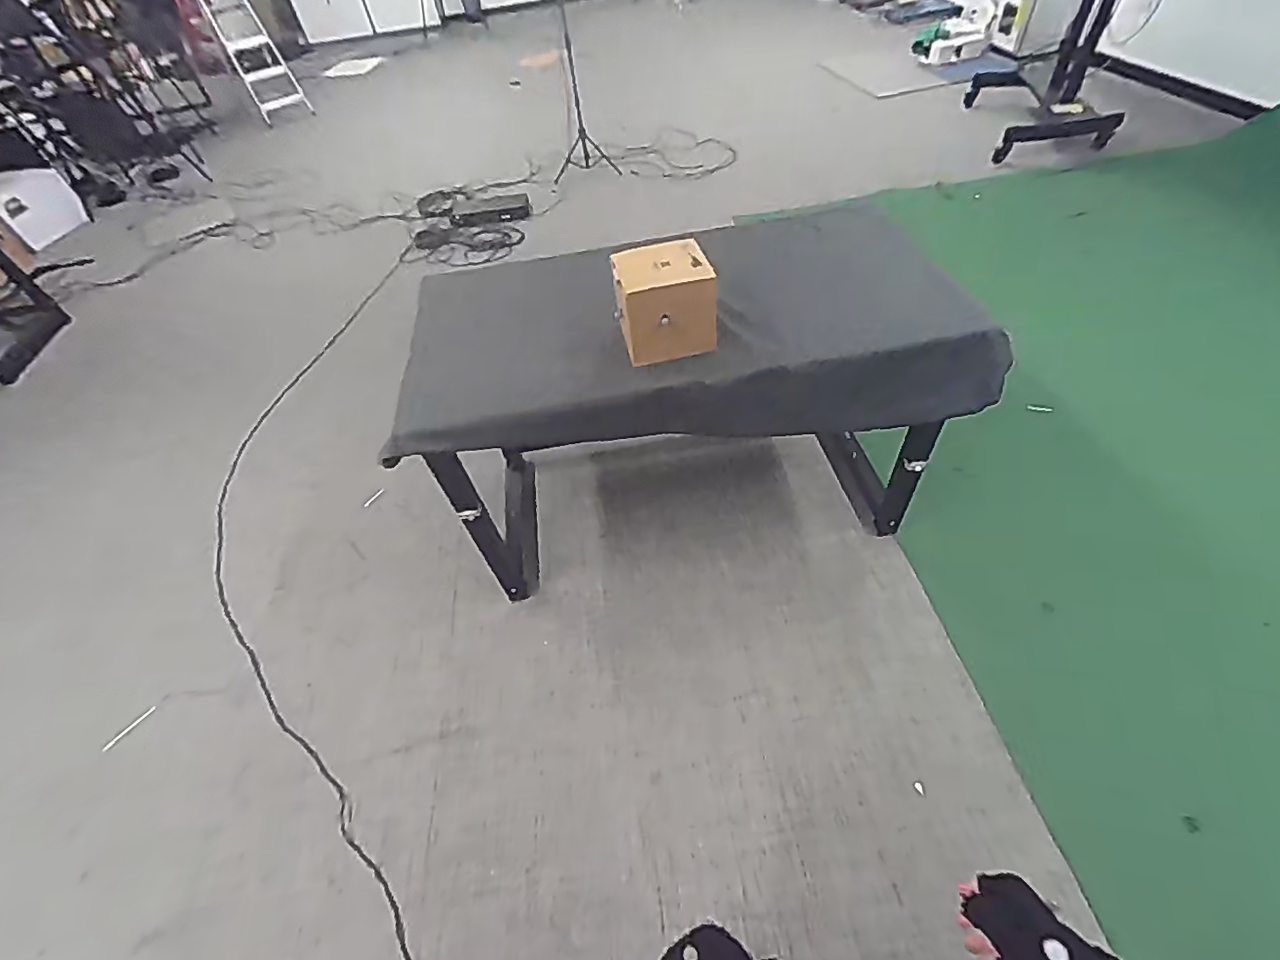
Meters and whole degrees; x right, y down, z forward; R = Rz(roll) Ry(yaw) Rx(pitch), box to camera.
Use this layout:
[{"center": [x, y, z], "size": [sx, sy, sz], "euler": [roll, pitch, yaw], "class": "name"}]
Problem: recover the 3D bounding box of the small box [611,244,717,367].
[{"center": [0.052, -0.354, 1.109], "size": [0.179, 0.176, 0.168], "euler": [-14, 47, -5], "class": "small box"}]
